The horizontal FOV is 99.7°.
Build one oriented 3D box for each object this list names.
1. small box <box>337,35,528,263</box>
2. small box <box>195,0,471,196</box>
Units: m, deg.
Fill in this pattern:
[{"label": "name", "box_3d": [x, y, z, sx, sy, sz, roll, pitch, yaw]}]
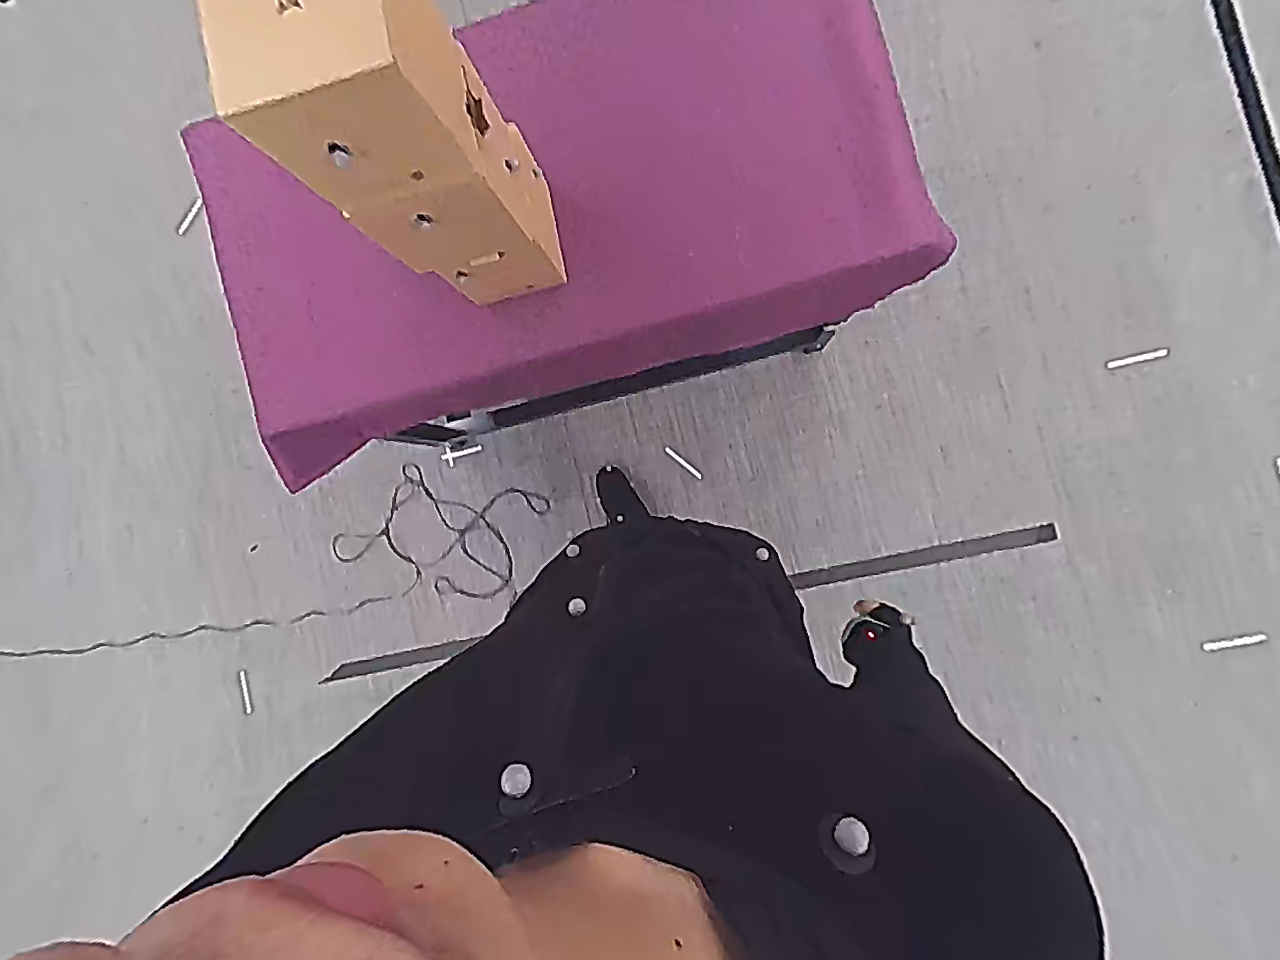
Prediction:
[{"label": "small box", "box_3d": [-0.263, -0.402, 0.690, 0.179, 0.176, 0.168, -11, 89, 6]}, {"label": "small box", "box_3d": [-0.285, -0.410, 0.529, 0.168, 0.176, 0.179, -12, 87, 7]}]
